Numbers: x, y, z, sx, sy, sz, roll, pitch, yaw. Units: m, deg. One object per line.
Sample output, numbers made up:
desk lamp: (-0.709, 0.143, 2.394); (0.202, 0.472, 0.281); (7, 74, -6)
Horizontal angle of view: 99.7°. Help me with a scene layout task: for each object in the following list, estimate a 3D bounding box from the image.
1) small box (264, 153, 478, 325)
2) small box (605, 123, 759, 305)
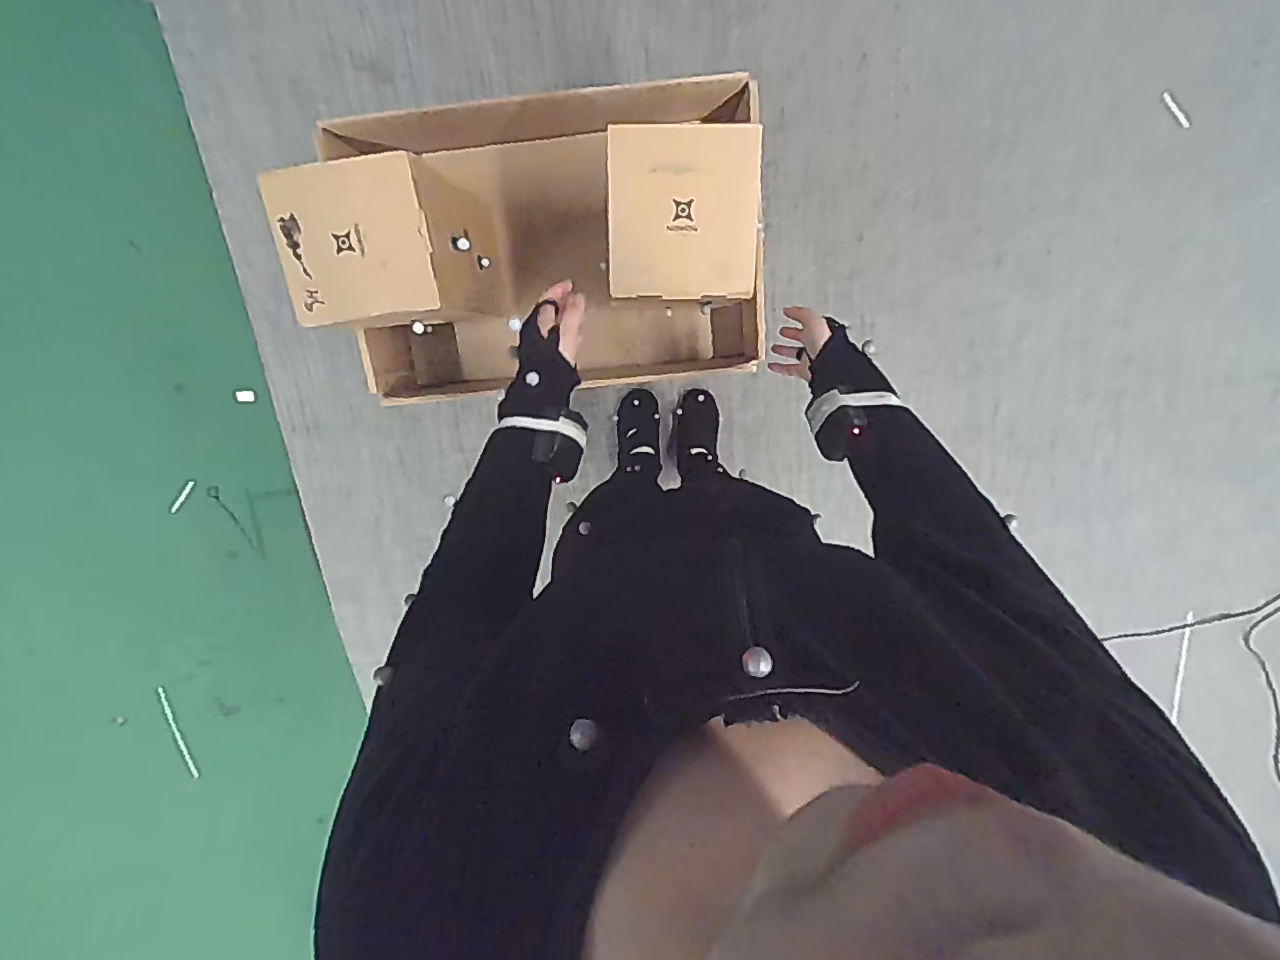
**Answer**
small box: (-0.319, -0.292, 0.689); (0.179, 0.176, 0.168); (-6, 104, 3)
small box: (0.046, -0.313, 0.671); (0.168, 0.176, 0.179); (1, 104, 1)
